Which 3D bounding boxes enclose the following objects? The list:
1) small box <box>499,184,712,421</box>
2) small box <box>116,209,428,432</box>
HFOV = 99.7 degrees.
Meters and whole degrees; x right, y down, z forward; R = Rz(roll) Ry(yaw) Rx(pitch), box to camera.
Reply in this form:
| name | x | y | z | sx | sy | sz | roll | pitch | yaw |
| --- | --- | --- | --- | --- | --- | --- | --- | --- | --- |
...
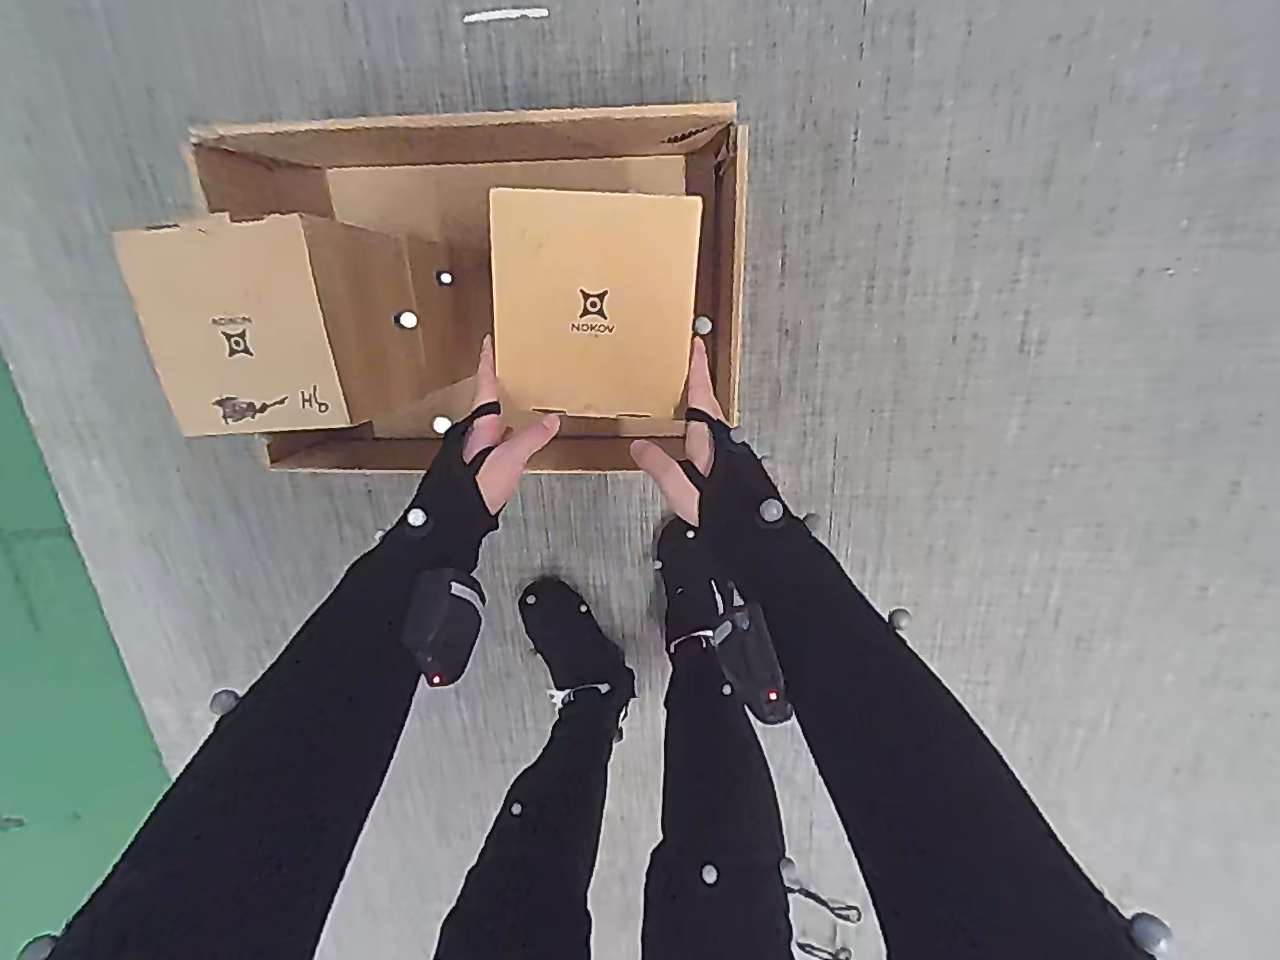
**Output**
| name | x | y | z | sx | sy | sz | roll | pitch | yaw |
| --- | --- | --- | --- | --- | --- | --- | --- | --- | --- |
| small box | -0.030 | -0.163 | 0.511 | 0.168 | 0.176 | 0.179 | 3 | 110 | 1 |
| small box | -0.332 | -0.151 | 0.530 | 0.168 | 0.176 | 0.179 | -2 | 108 | 5 |
